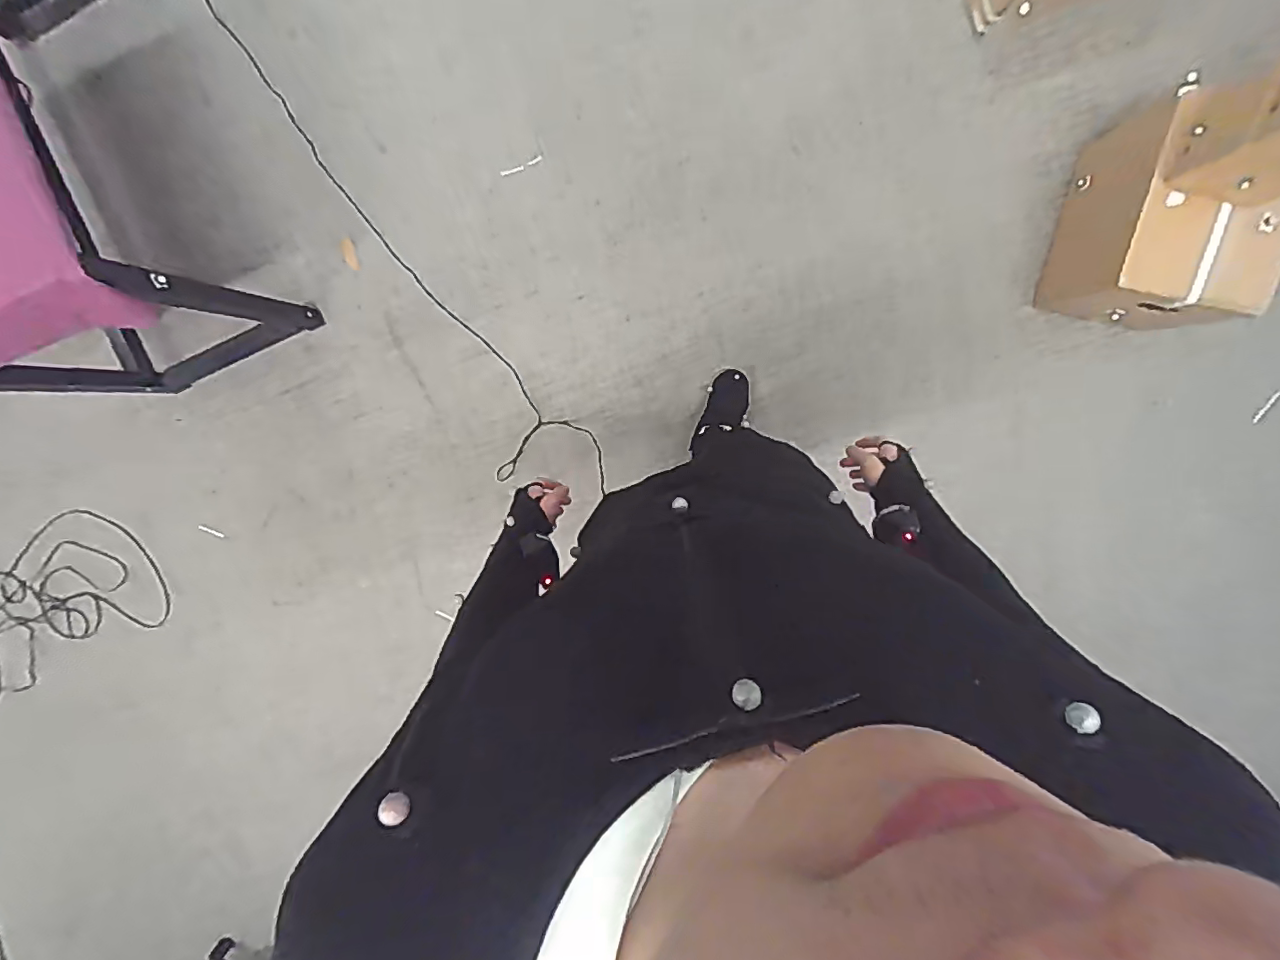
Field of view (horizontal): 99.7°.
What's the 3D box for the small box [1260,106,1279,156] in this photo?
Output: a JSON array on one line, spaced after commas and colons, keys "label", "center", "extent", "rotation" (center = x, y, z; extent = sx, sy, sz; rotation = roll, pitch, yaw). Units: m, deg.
[{"label": "small box", "center": [1.173, -0.606, 0.845], "extent": [0.179, 0.176, 0.168], "rotation": [23, 101, 4]}]
